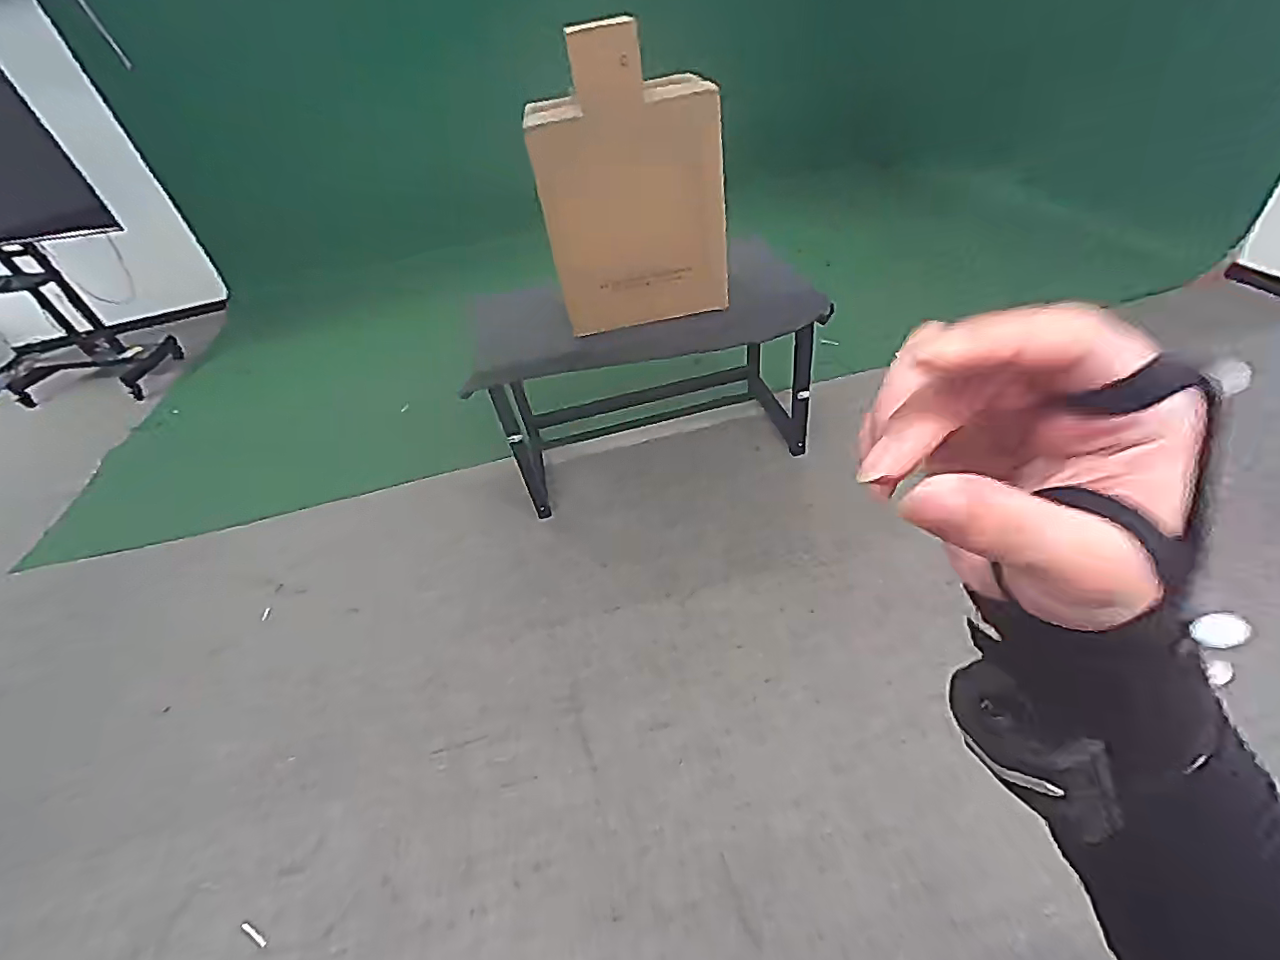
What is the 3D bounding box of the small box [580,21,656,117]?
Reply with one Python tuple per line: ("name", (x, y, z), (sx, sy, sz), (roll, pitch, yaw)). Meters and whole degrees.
("small box", (-0.057, -1.108, 1.458), (0.179, 0.176, 0.168), (-12, 43, 0))
